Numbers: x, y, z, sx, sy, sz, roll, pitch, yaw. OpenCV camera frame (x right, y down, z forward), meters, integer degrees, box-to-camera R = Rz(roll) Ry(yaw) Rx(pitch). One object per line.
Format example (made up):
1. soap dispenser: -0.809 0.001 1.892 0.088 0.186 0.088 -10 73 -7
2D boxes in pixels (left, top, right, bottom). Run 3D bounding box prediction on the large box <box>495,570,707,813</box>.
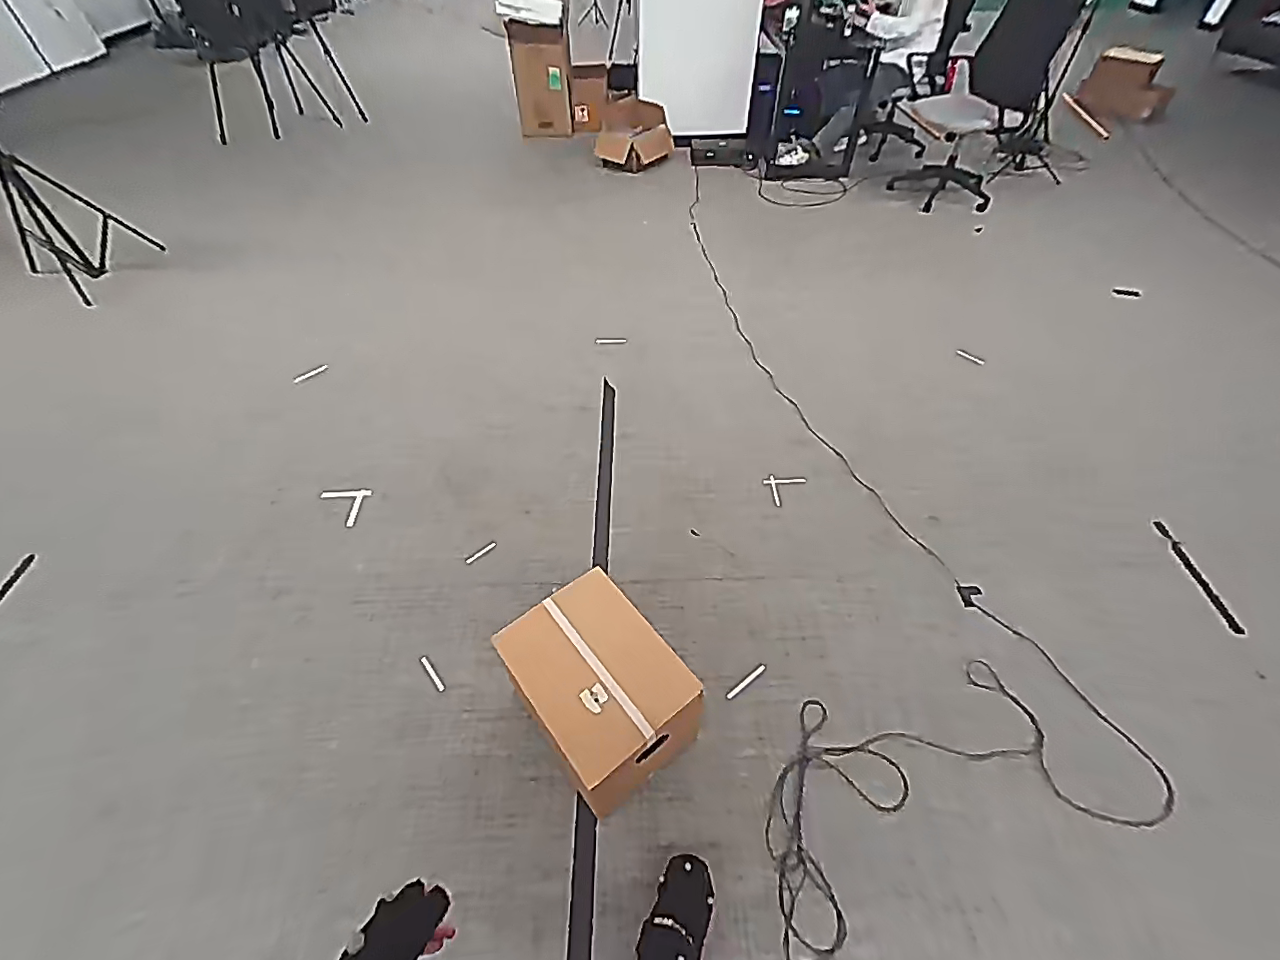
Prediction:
1. large box: -0.099 0.507 1.324 0.320 0.320 0.408 -31 56 -24
